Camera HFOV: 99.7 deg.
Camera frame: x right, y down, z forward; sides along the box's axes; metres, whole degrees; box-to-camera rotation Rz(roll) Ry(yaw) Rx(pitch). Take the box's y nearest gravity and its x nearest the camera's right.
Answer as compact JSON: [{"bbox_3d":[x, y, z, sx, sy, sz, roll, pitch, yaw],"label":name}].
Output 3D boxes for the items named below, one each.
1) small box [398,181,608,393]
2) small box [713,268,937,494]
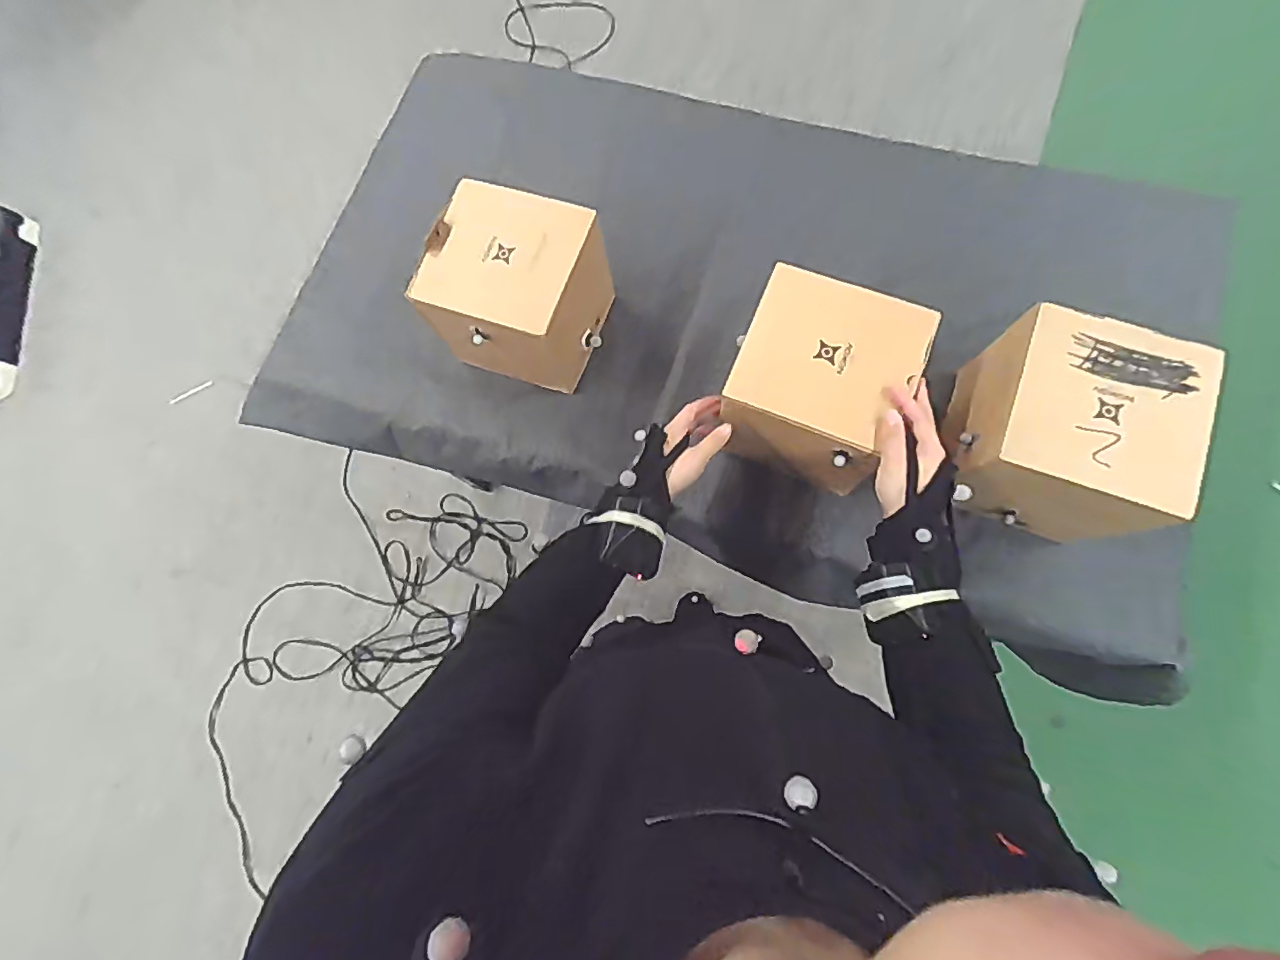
[{"bbox_3d":[-0.154,-0.228,0.674,0.179,0.176,0.168,18,78,8],"label":"small box"},{"bbox_3d":[0.191,-0.099,0.612,0.179,0.176,0.168,22,77,9],"label":"small box"}]
